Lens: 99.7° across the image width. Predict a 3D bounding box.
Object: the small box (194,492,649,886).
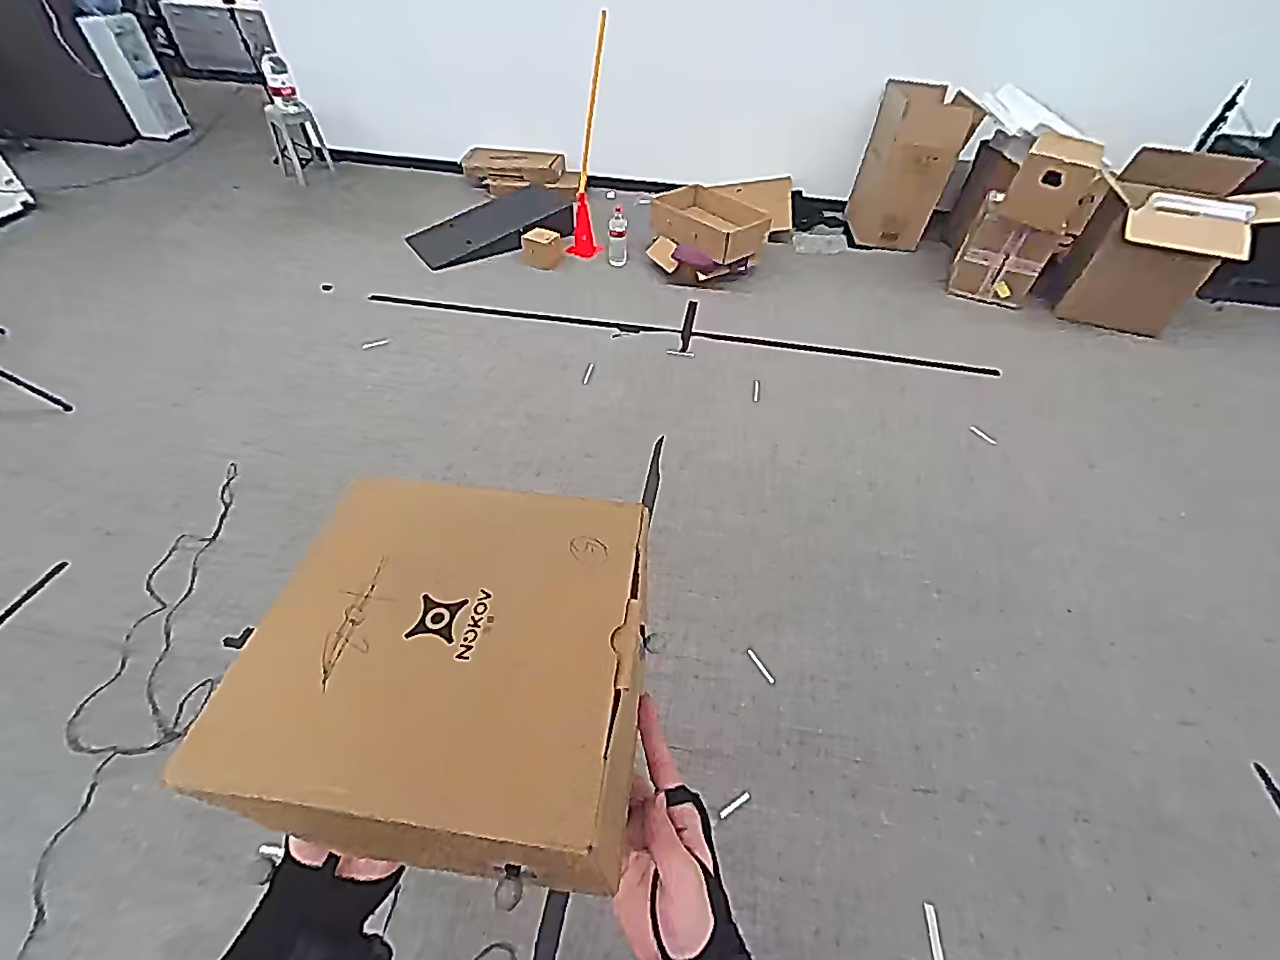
[{"bbox_3d":[-0.088,0.128,0.326,0.179,0.176,0.168,3,47,5],"label":"small box"}]
